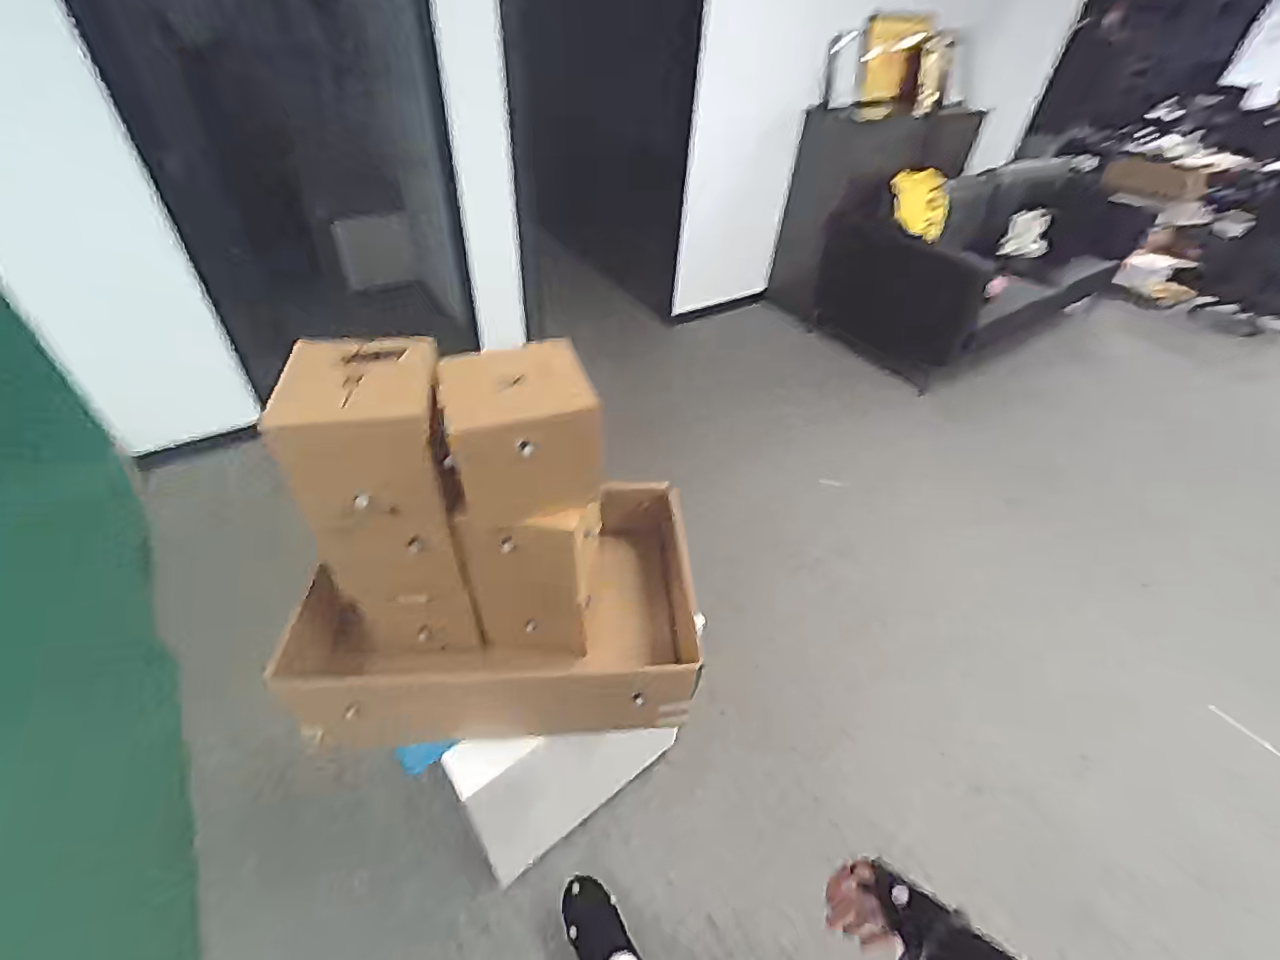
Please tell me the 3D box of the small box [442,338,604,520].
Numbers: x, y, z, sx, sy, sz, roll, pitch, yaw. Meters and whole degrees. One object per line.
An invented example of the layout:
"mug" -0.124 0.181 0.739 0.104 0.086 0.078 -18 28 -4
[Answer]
"small box" -0.153 -0.067 0.727 0.179 0.176 0.168 -12 44 -14
